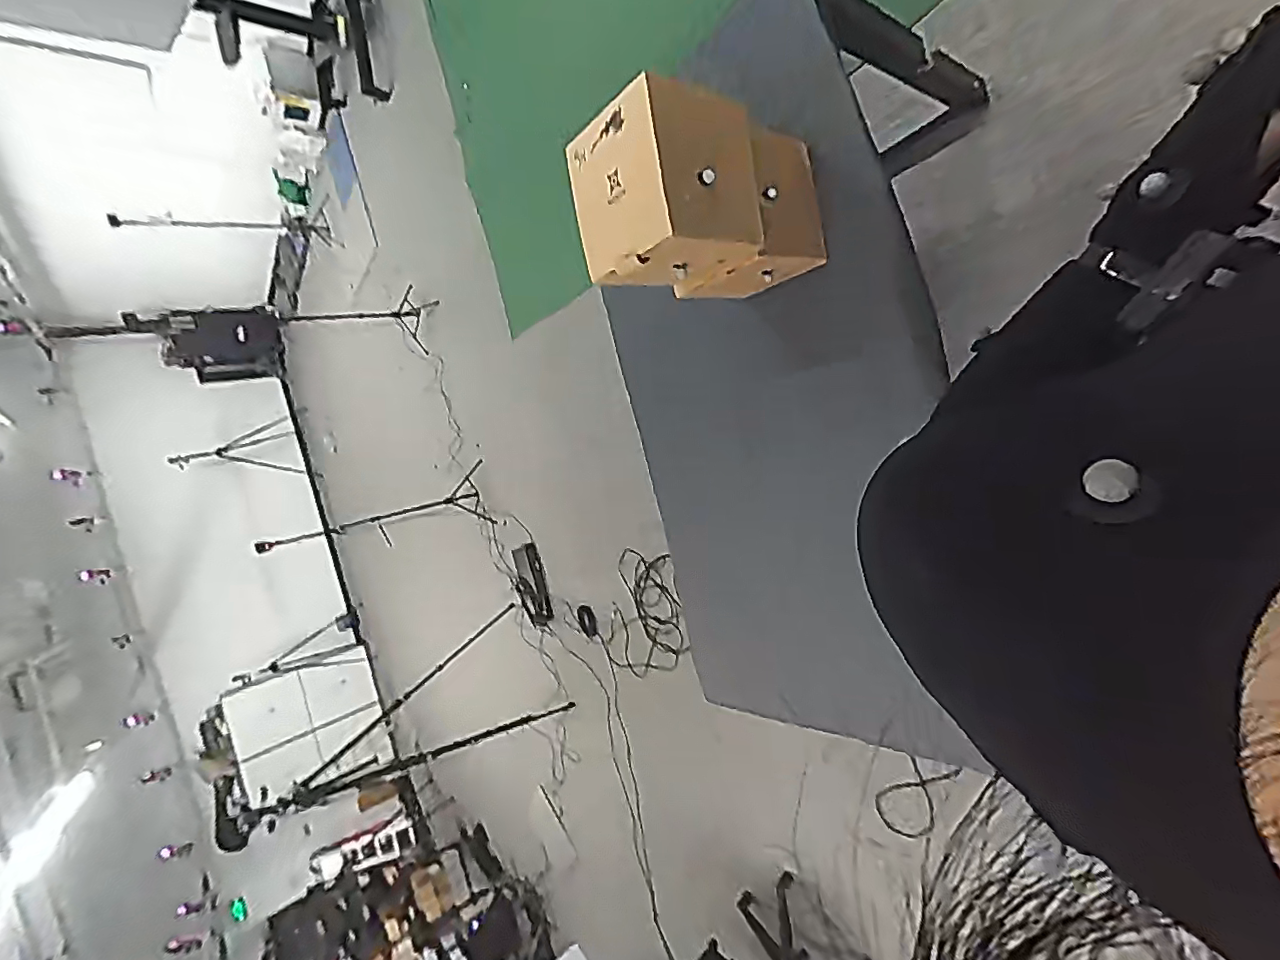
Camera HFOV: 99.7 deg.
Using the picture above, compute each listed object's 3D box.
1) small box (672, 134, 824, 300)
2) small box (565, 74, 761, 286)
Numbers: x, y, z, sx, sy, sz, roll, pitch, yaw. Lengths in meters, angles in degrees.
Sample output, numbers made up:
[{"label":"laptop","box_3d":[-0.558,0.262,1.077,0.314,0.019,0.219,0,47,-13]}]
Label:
[{"label":"small box","box_3d":[0.149,-0.380,0.798,0.168,0.176,0.179,-8,96,51]},{"label":"small box","box_3d":[0.033,-0.358,0.682,0.168,0.176,0.179,-3,101,51]}]
